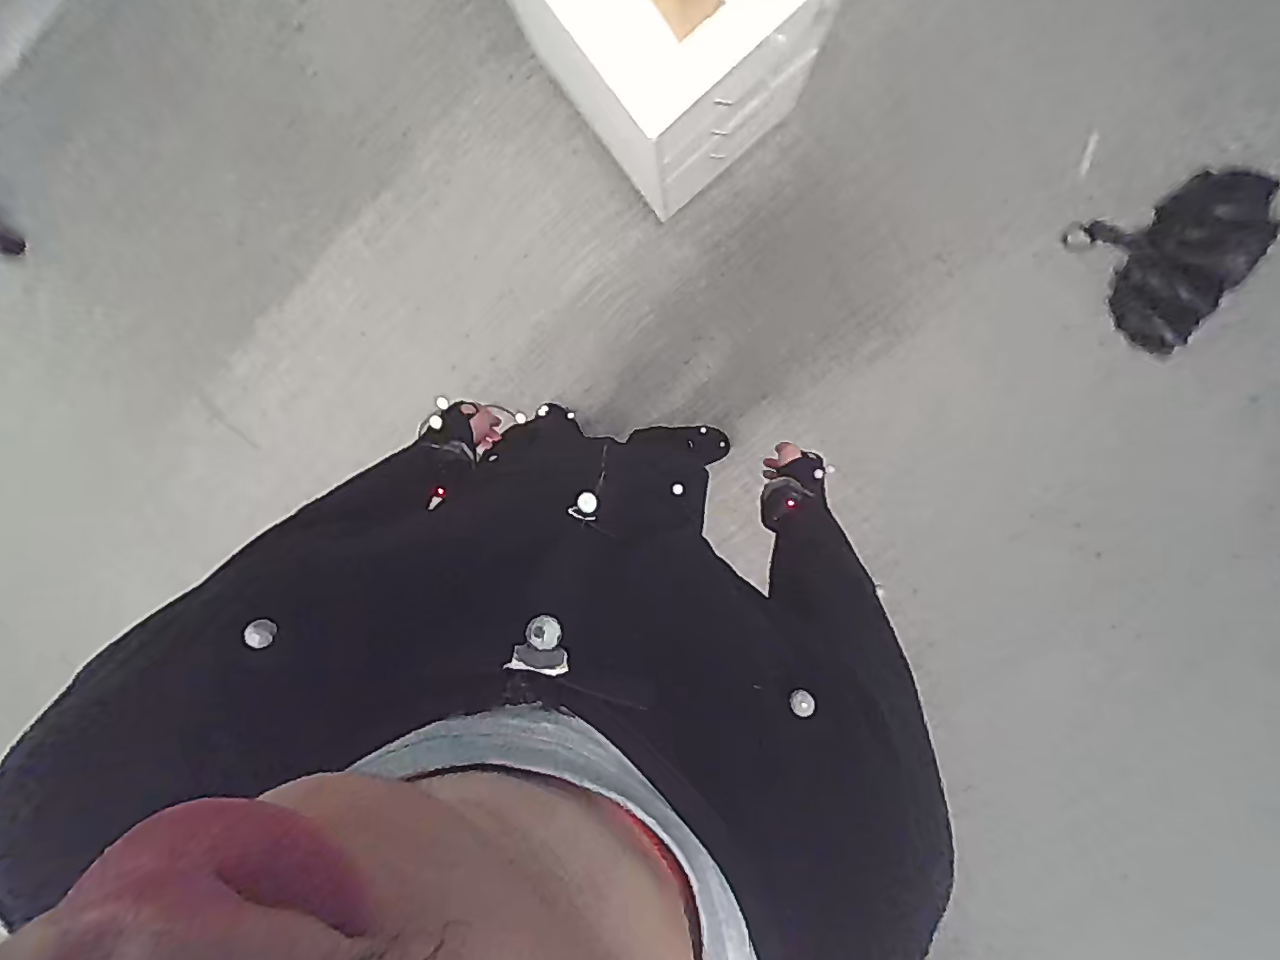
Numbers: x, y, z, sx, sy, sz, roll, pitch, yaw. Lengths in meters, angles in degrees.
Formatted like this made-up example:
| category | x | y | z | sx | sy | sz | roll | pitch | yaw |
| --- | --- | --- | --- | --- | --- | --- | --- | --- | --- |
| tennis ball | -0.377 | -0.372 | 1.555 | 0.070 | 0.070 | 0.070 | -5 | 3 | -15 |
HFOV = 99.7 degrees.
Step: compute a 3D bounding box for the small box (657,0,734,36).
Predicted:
| category | x | y | z | sx | sy | sz | roll | pitch | yaw |
| --- | --- | --- | --- | --- | --- | --- | --- | --- | --- |
| small box | 0.073 | -0.746 | 0.700 | 0.168 | 0.176 | 0.179 | -34 | 99 | 12 |
